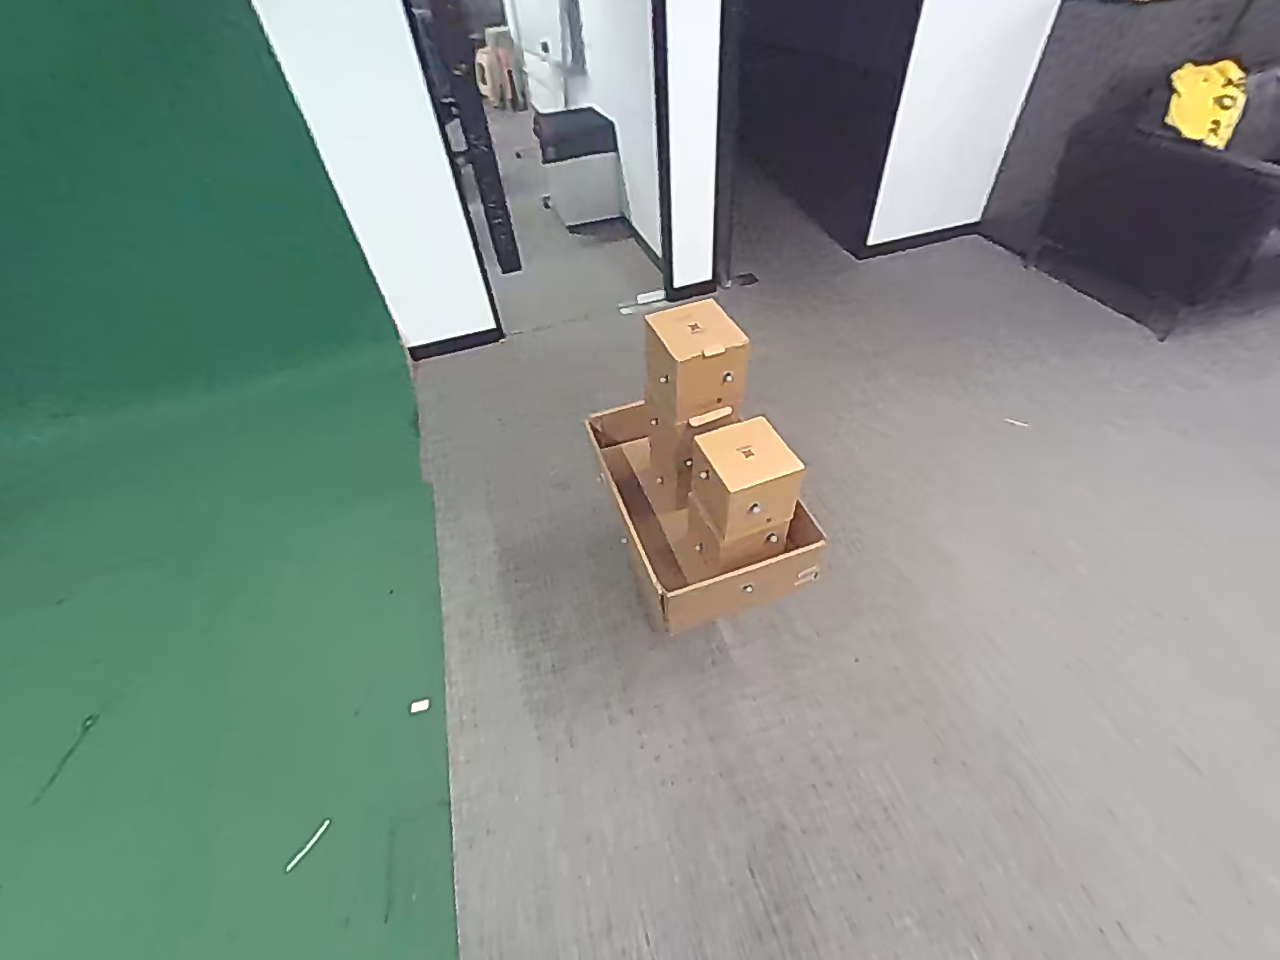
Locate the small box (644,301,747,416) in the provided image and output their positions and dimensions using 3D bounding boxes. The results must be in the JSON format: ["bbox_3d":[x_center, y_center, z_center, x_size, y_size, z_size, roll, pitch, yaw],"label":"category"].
[{"bbox_3d":[0.117,-0.258,1.185,0.168,0.176,0.179,-17,51,-12],"label":"small box"}]

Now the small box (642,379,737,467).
[{"bbox_3d":[0.118,-0.151,1.308,0.168,0.176,0.179,-20,51,-14],"label":"small box"}]

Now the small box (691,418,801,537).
[{"bbox_3d":[0.219,0.002,1.158,0.168,0.176,0.179,-17,48,-11],"label":"small box"}]
